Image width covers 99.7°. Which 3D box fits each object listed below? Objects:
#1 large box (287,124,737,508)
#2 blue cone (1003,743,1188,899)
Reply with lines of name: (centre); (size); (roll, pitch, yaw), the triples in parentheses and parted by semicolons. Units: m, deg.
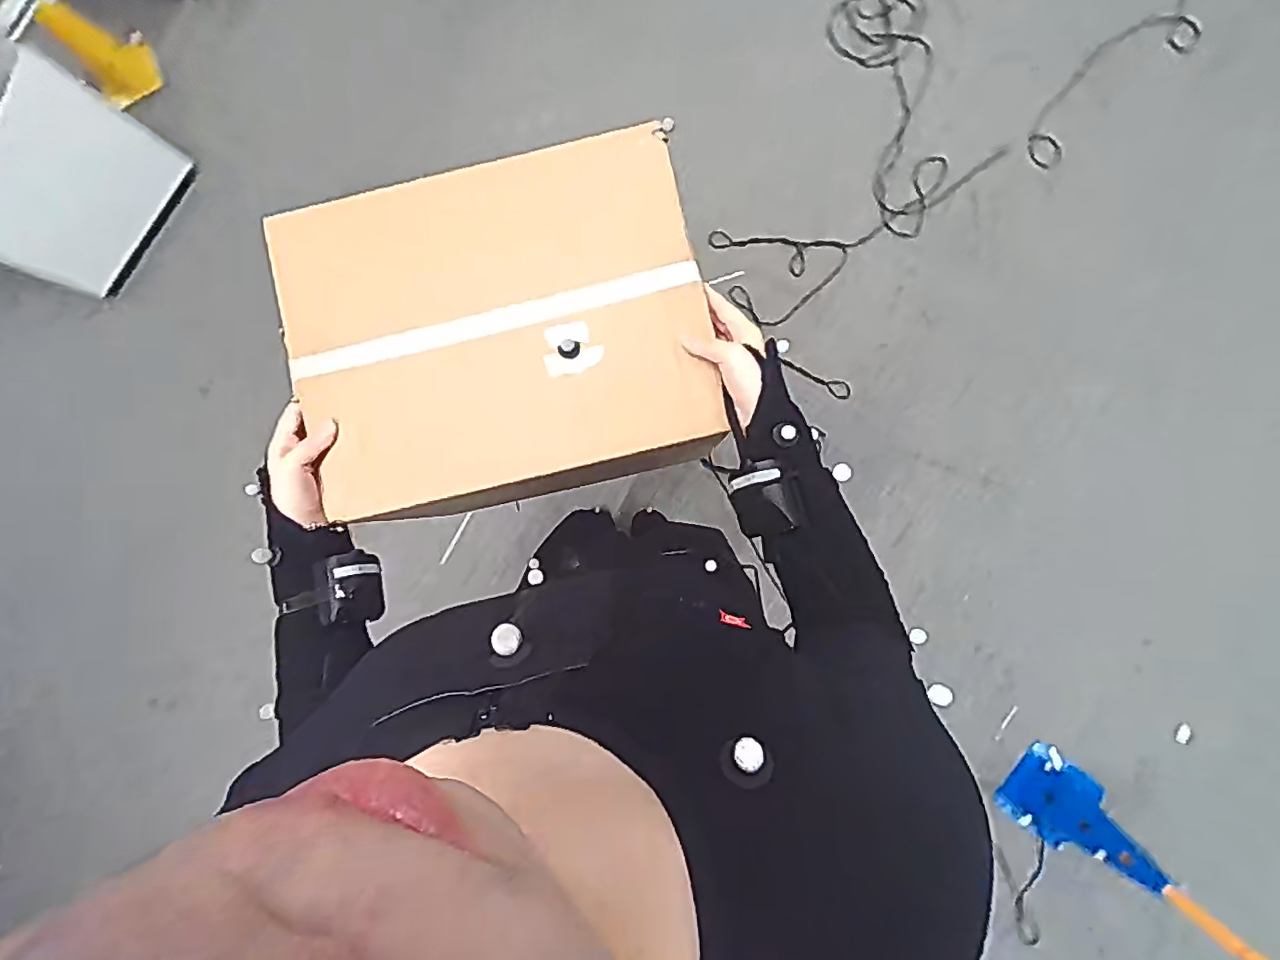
large box: (-0.129, -0.157, 0.681); (0.408, 0.320, 0.320); (-12, 88, 0)
blue cone: (1.018, 0.772, 1.198); (0.192, 0.380, 0.193); (38, 91, 6)
